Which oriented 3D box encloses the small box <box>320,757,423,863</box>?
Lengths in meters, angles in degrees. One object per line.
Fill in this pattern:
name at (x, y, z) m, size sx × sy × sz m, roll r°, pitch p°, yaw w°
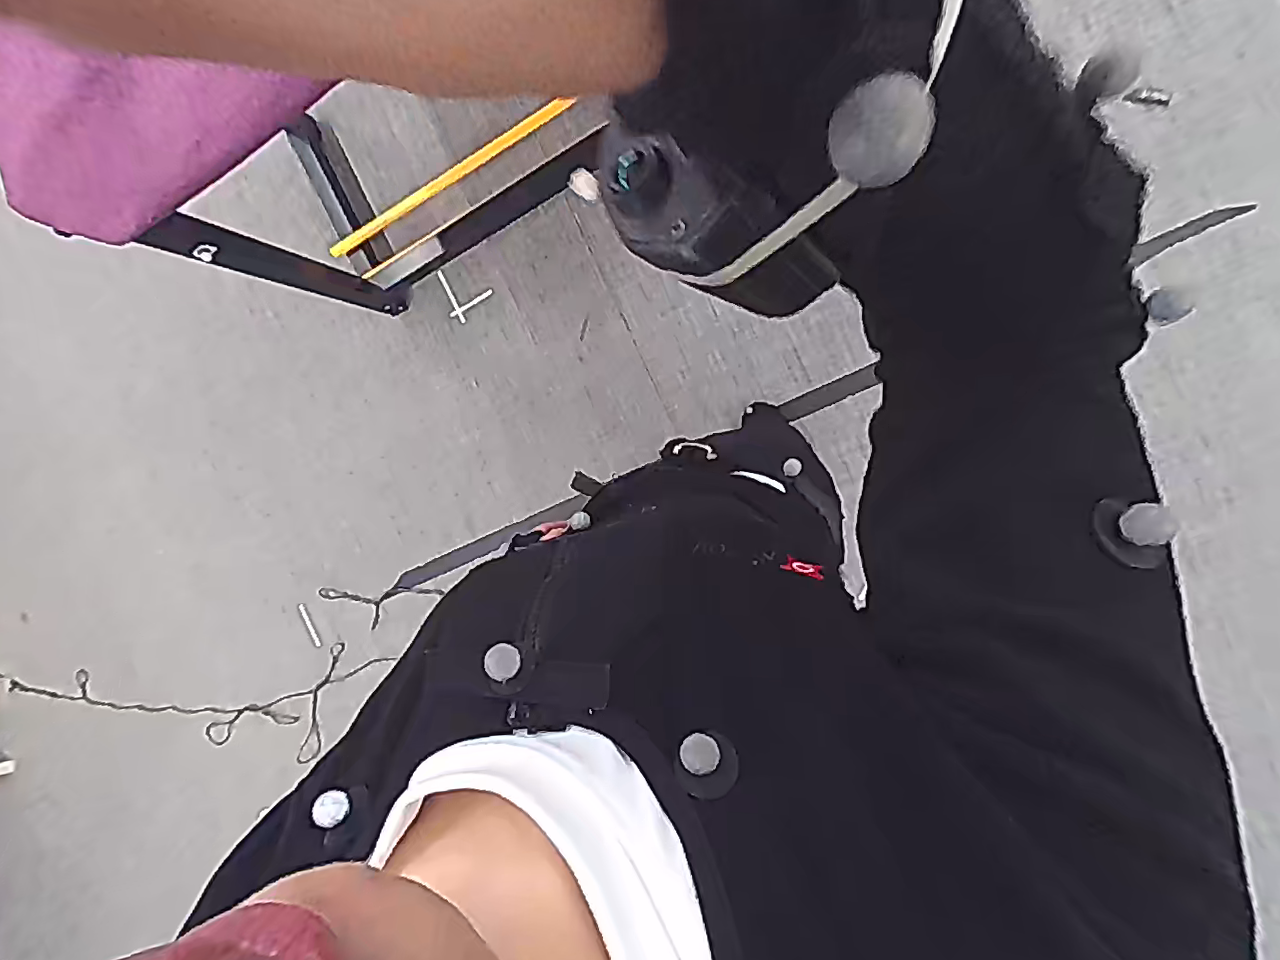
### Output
small box at (-0.757, 0.936, 1.544) m, size 0.168 × 0.176 × 0.179 m, roll -24°, pitch 91°, yaw 12°
